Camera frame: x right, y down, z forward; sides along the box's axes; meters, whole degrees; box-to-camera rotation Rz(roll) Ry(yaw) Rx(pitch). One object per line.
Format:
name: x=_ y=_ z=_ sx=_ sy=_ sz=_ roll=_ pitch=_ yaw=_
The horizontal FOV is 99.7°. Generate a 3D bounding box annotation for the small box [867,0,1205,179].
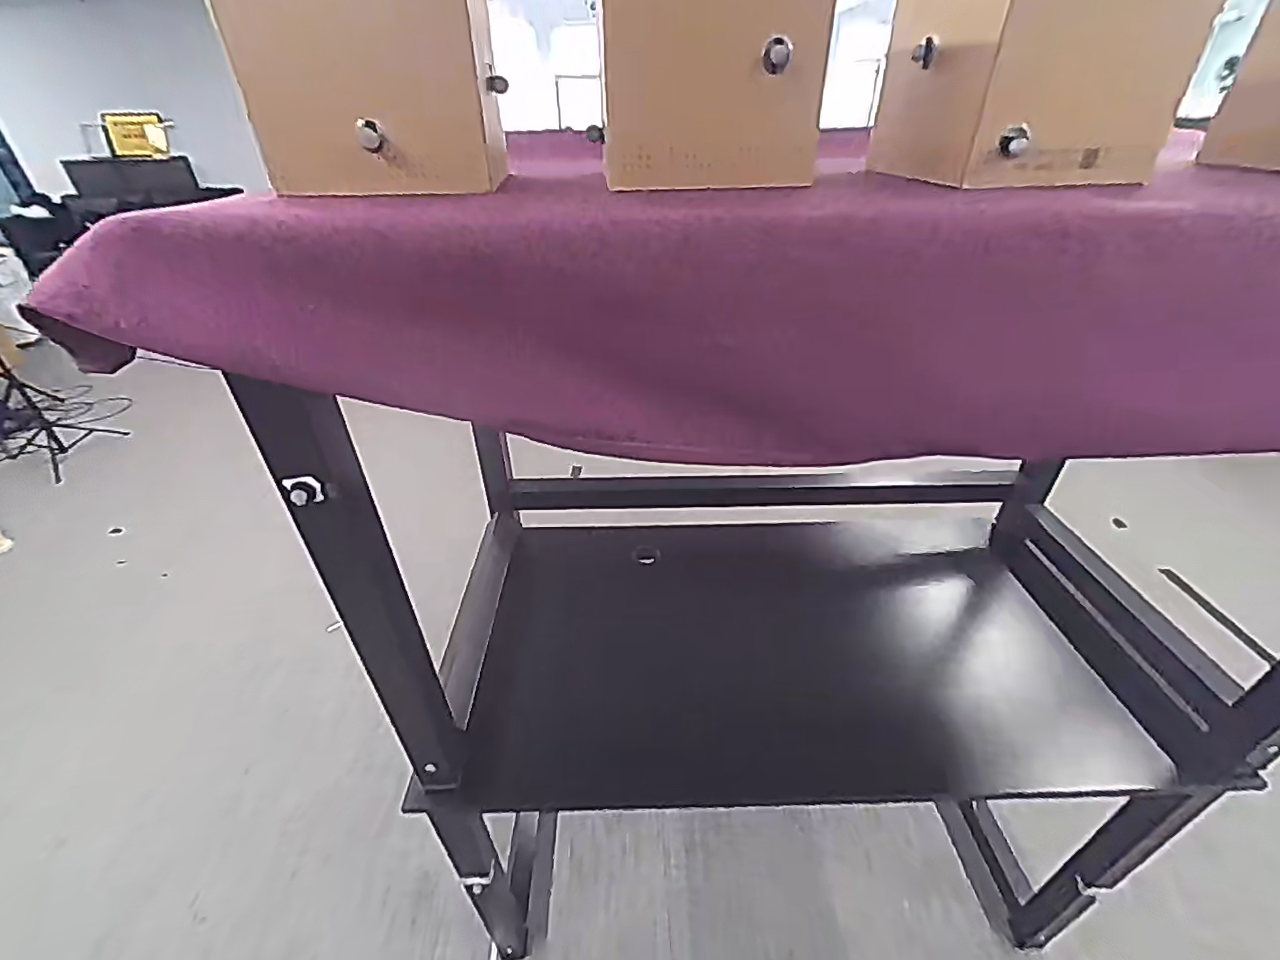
small box: x=0.320 y=-0.356 z=0.459 sx=0.168 sy=0.176 sz=0.179 roll=-4 pitch=34 yaw=-5

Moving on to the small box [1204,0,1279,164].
small box: x=0.652 y=-0.356 z=0.447 sx=0.168 sy=0.176 sz=0.179 roll=0 pitch=34 yaw=3

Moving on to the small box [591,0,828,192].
small box: x=0.048 y=-0.358 z=0.472 sx=0.179 sy=0.176 sz=0.168 roll=-4 pitch=34 yaw=-3

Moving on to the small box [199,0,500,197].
small box: x=-0.220 y=-0.344 z=0.455 sx=0.179 sy=0.176 sz=0.168 roll=-4 pitch=34 yaw=-6
